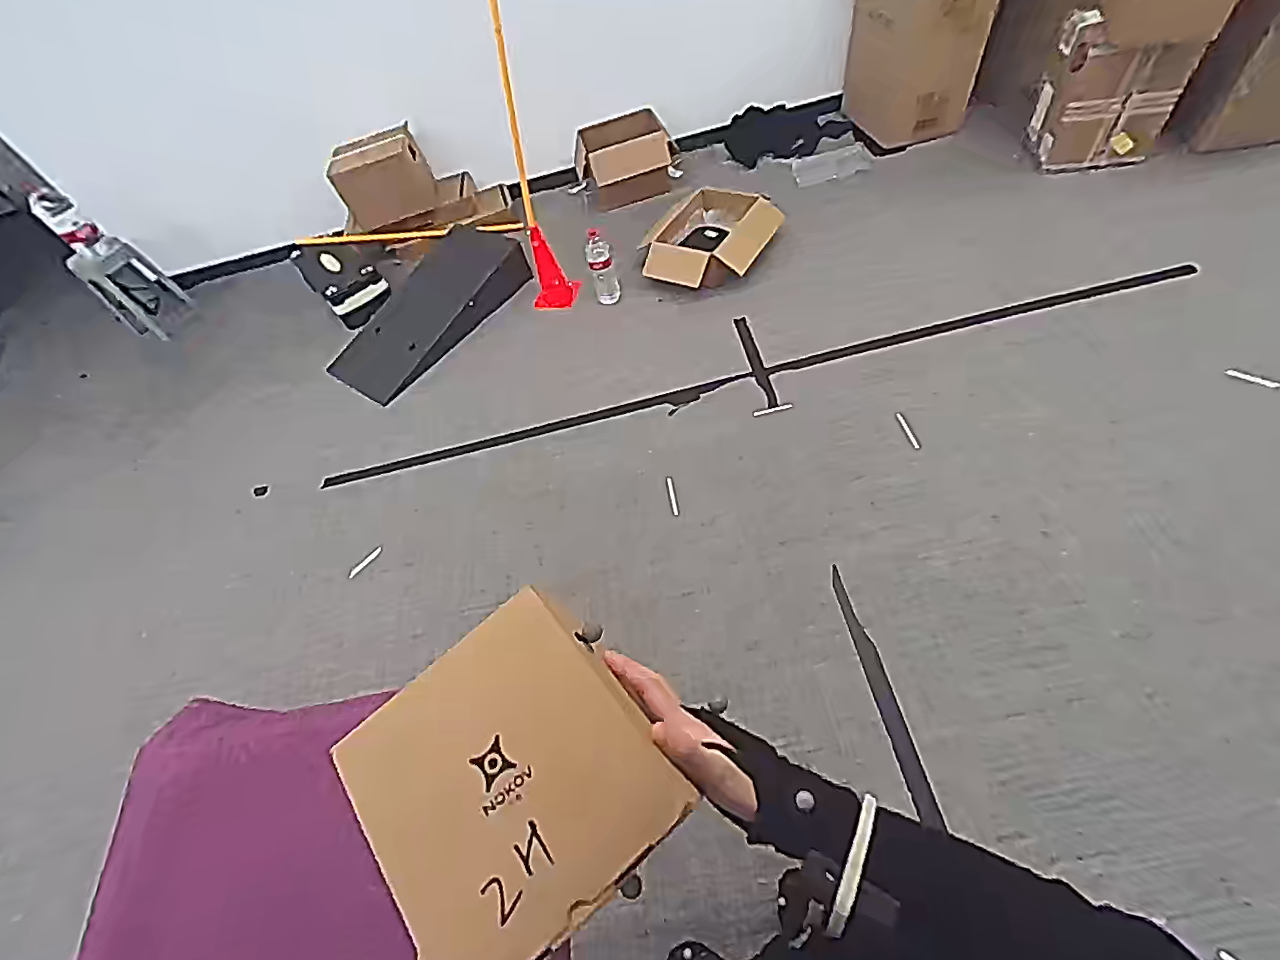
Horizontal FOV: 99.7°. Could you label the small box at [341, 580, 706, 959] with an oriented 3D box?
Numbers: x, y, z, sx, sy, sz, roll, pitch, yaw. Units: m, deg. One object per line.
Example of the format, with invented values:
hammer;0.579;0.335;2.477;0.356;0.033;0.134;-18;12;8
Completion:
small box;-0.069;0.208;0.400;0.168;0.176;0.179;-40;65;-9
